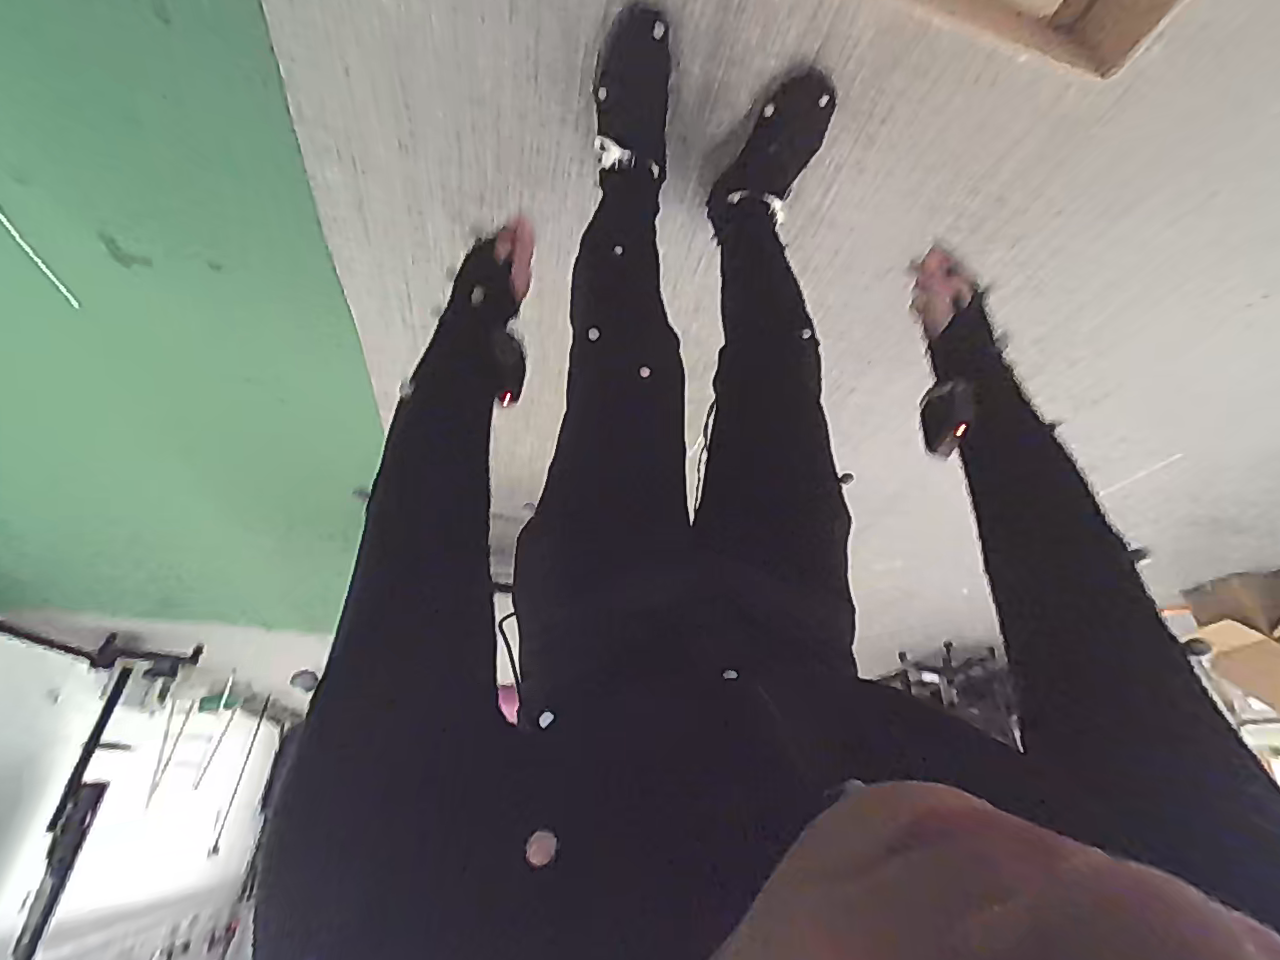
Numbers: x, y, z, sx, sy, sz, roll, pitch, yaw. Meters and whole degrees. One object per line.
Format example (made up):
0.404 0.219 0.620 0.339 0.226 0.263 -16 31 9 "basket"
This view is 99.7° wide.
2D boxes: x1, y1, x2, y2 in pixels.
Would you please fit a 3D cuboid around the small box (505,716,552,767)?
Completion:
-0.461 1.083 2.236 0.168 0.176 0.179 8 147 -11 "small box"
